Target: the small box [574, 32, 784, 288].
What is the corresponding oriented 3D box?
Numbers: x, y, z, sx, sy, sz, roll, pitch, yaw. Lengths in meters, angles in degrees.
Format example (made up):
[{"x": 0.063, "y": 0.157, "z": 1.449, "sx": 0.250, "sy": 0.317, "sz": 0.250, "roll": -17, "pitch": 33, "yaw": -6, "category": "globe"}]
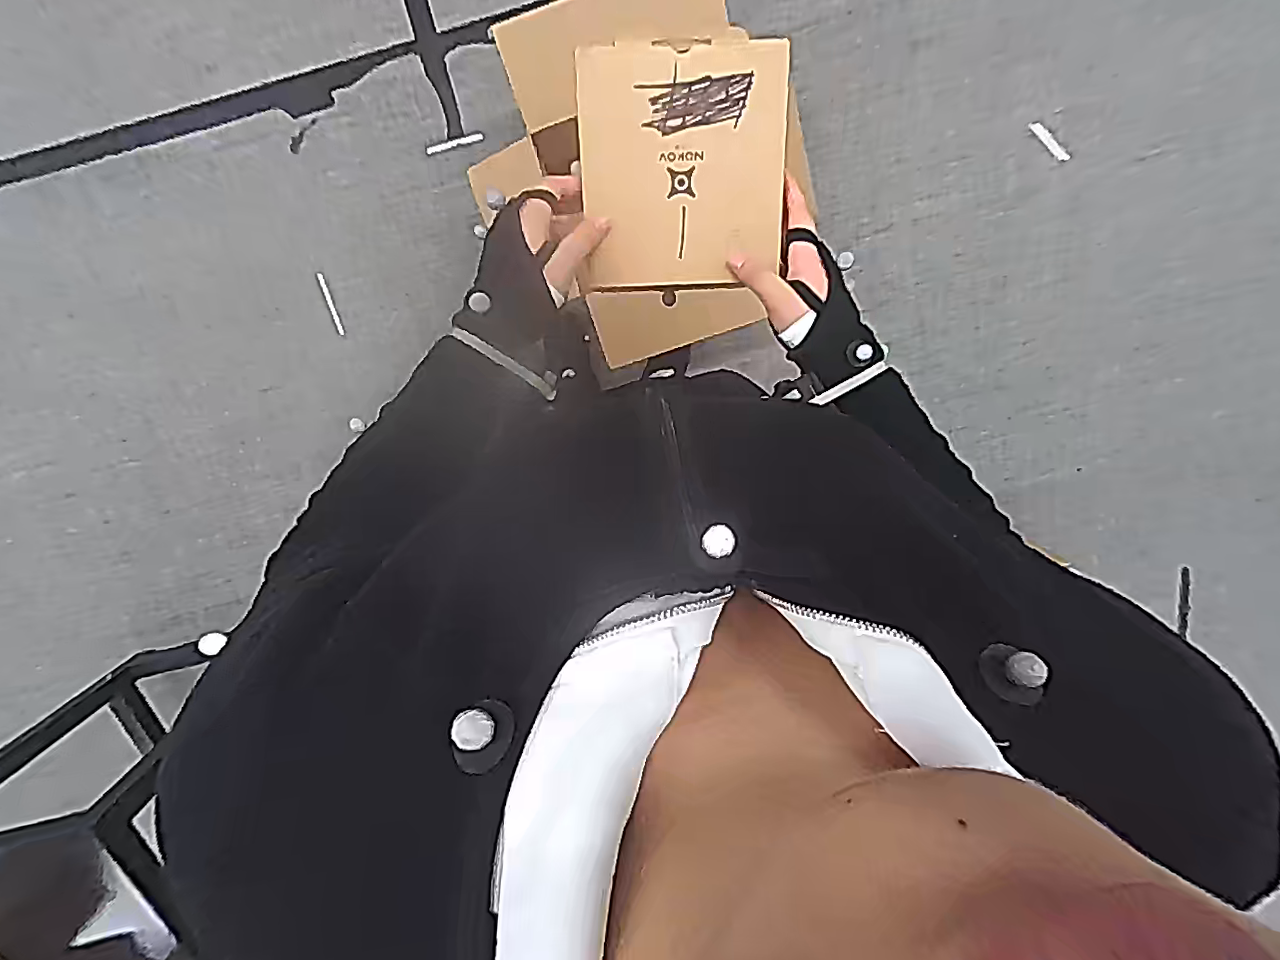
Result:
[{"x": 0.030, "y": -0.279, "z": 0.511, "sx": 0.168, "sy": 0.176, "sz": 0.179, "roll": -1, "pitch": 108, "yaw": 1, "category": "small box"}]
